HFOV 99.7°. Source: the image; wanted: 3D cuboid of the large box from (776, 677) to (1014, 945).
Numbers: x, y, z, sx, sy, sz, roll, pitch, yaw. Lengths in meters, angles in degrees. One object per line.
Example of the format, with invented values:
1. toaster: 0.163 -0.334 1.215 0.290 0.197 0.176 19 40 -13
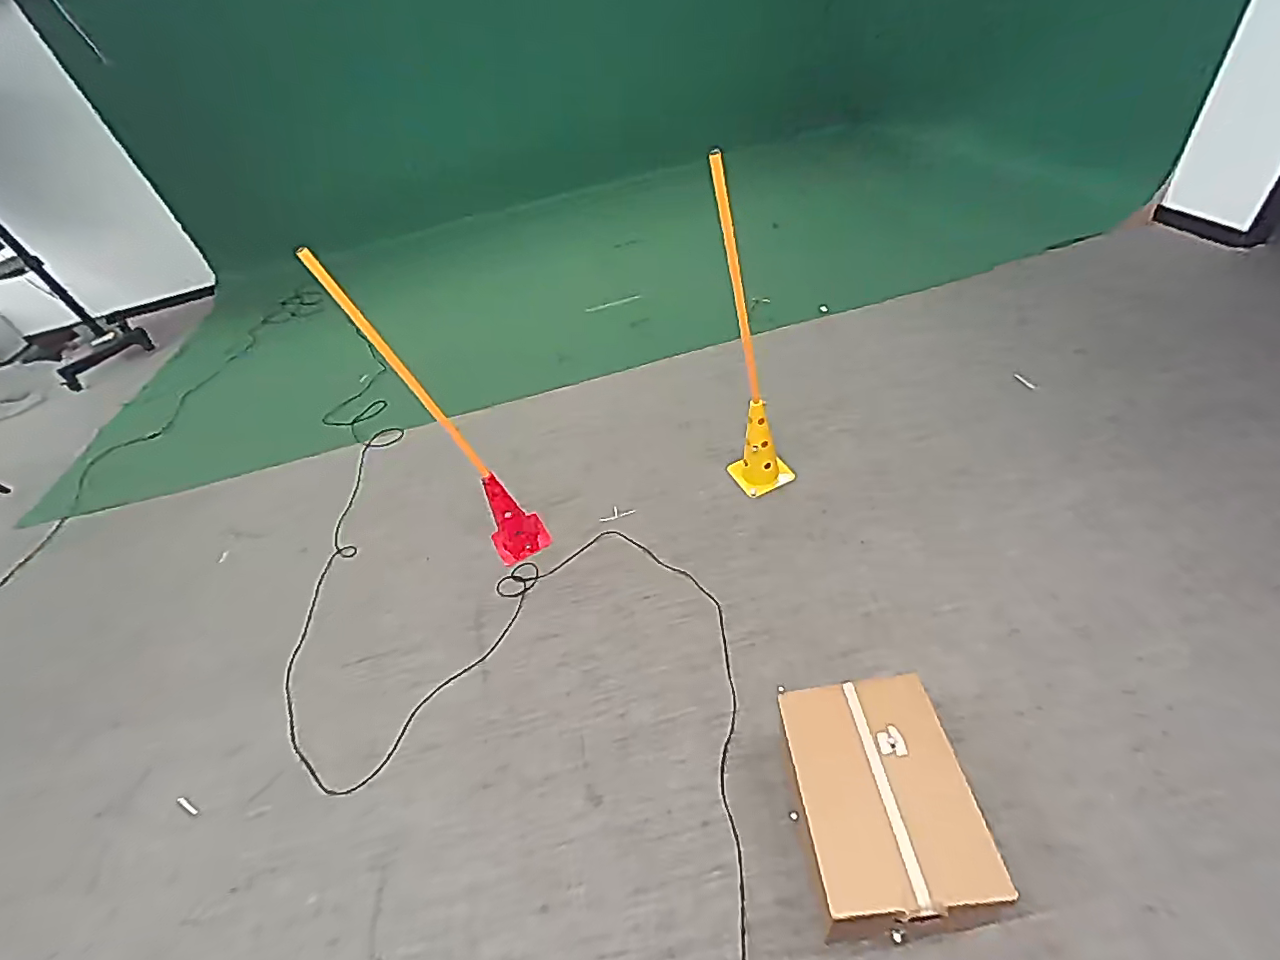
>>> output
1. large box: 0.500 0.702 1.160 0.320 0.320 0.408 -10 42 5
